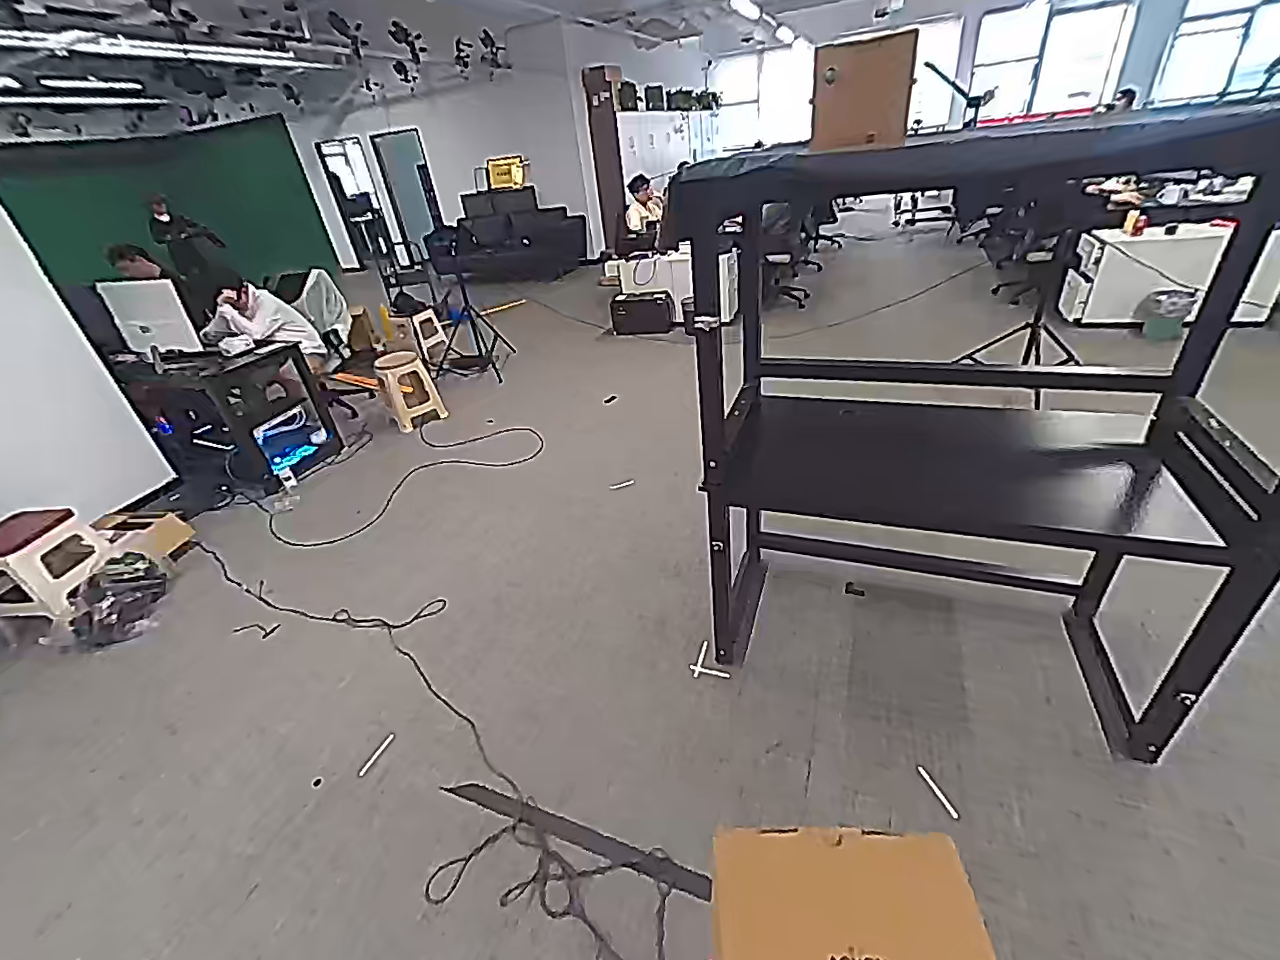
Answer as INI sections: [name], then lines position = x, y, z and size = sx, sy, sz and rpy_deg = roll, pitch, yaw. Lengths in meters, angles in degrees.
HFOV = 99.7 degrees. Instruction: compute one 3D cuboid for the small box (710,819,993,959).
[small box]
position = 0.134, 0.360, 0.363
size = 0.168, 0.176, 0.179
rpy_deg = -2, 35, 5
